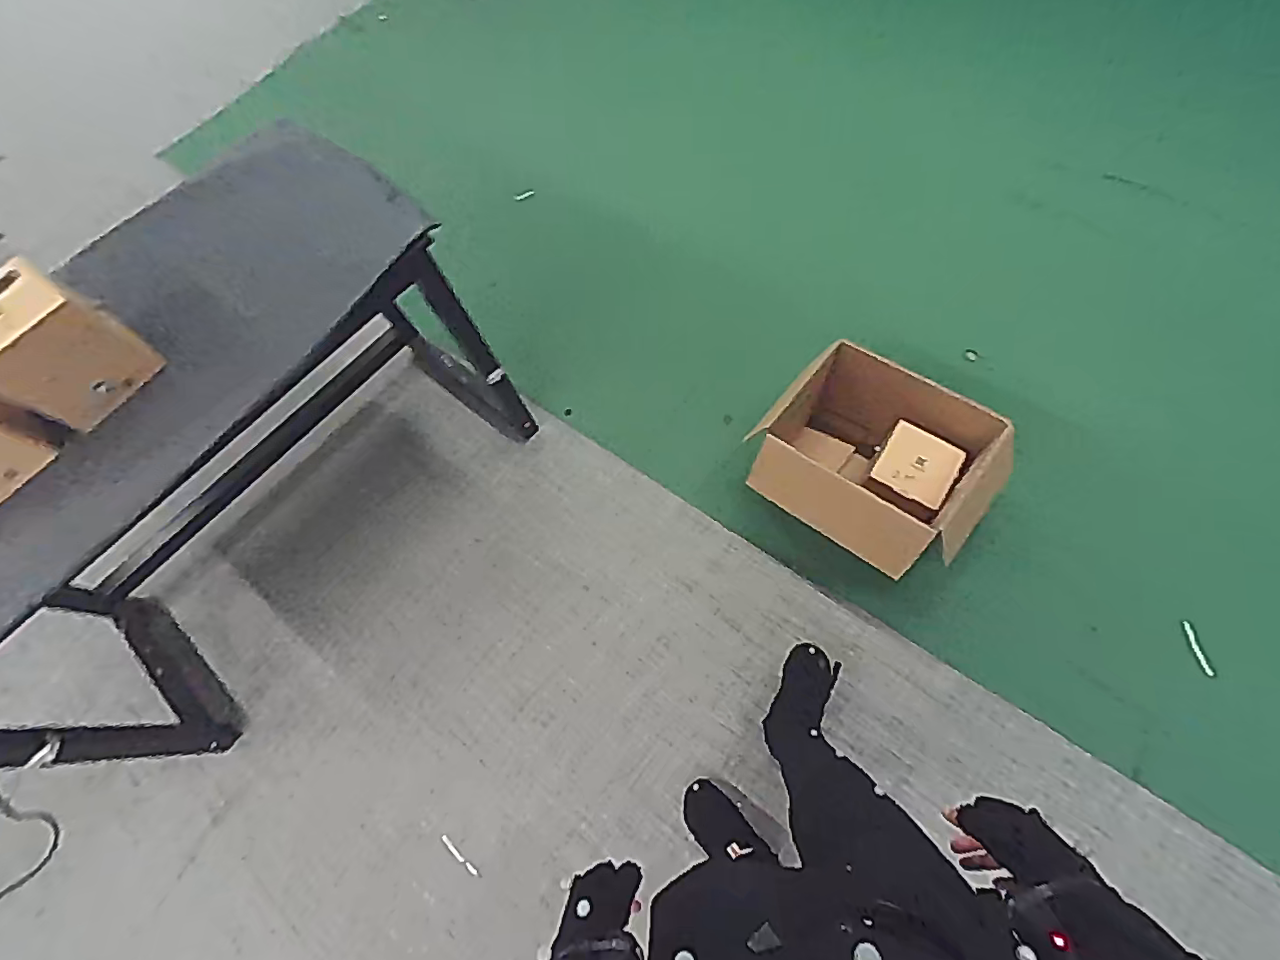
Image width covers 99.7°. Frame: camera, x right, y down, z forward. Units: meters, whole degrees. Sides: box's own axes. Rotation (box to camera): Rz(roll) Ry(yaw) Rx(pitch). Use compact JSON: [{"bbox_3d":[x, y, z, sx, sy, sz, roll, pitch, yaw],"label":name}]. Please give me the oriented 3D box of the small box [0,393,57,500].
[{"bbox_3d":[-1.078,-0.064,0.831,0.179,0.176,0.168,34,75,21],"label":"small box"}]
